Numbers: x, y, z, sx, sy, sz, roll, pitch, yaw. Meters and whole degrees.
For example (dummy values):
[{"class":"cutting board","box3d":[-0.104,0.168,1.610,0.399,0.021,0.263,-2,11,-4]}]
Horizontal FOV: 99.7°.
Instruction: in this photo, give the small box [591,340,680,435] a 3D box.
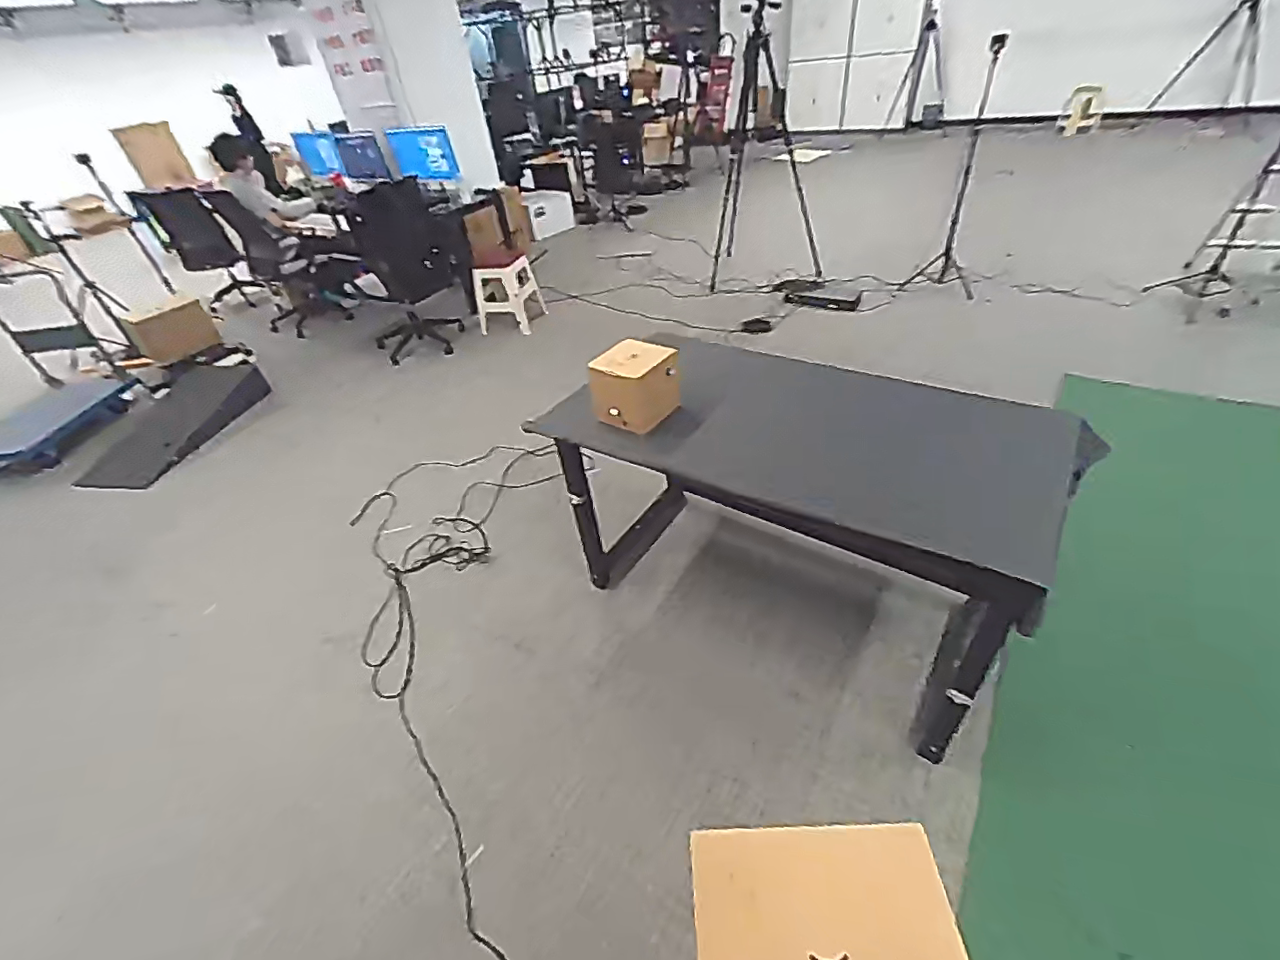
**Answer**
[{"class":"small box","box3d":[-0.007,-0.247,1.435,0.168,0.176,0.179,22,47,31]}]
